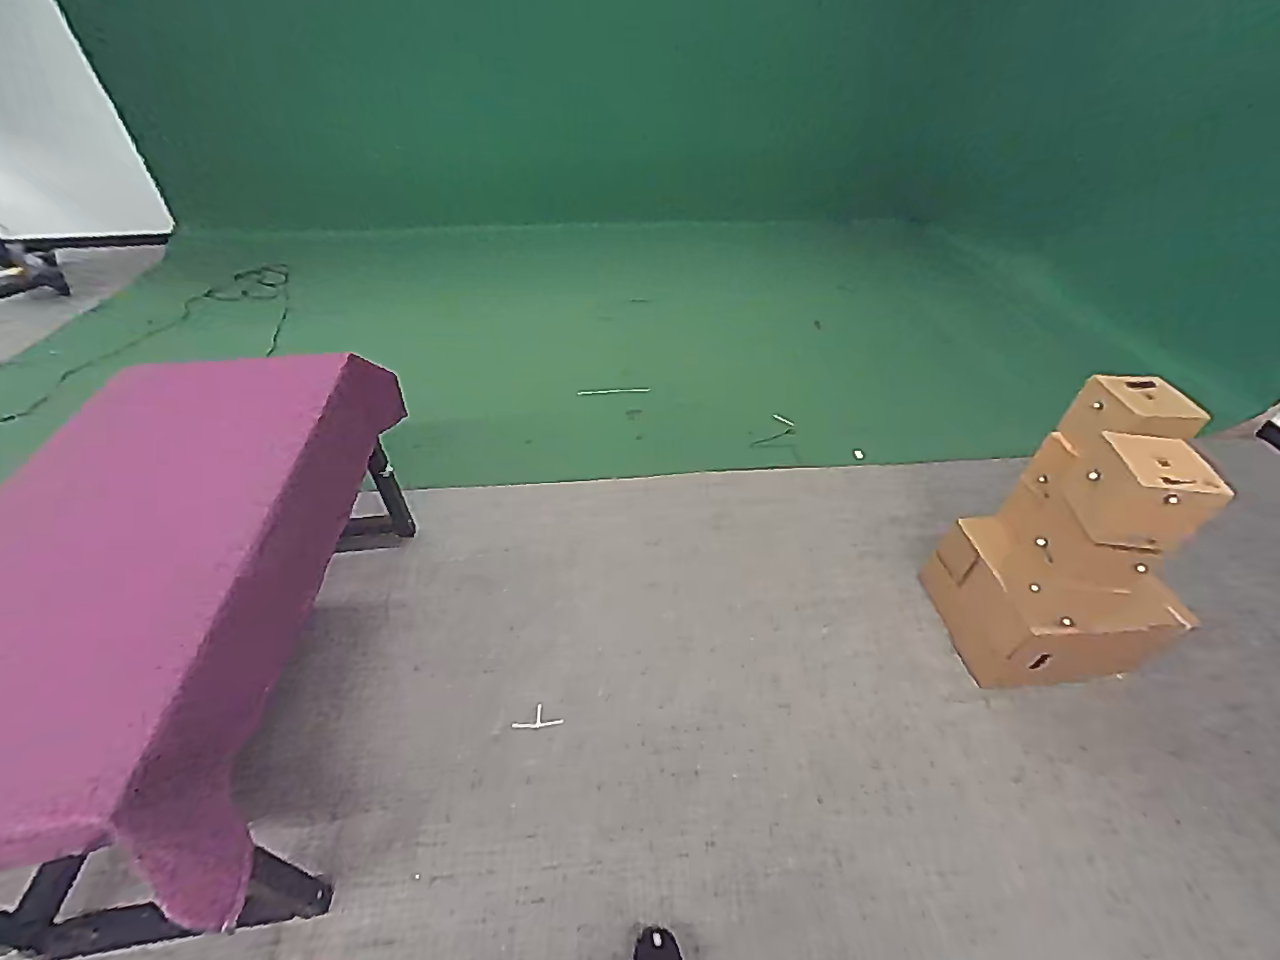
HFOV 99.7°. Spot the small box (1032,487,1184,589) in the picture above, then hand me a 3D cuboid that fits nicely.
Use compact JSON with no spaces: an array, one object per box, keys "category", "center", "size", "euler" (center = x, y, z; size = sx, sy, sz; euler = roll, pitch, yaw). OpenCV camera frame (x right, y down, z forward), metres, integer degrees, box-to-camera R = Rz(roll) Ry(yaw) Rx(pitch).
[{"category":"small box","center":[1.067,0.136,1.252],"size":[0.179,0.176,0.168],"euler":[3,43,3]}]

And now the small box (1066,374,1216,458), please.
[{"category":"small box","center":[1.195,-0.137,1.312],"size":[0.168,0.176,0.179],"euler":[1,43,1]}]

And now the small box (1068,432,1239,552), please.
[{"category":"small box","center":[1.052,0.024,1.132],"size":[0.168,0.176,0.179],"euler":[6,42,7]}]

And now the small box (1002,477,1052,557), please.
[{"category":"small box","center":[1.181,0.107,1.530],"size":[0.168,0.176,0.179],"euler":[-2,42,-5]}]

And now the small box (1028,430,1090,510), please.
[{"category":"small box","center":[1.183,-0.015,1.423],"size":[0.179,0.176,0.168],"euler":[-2,42,-3]}]
